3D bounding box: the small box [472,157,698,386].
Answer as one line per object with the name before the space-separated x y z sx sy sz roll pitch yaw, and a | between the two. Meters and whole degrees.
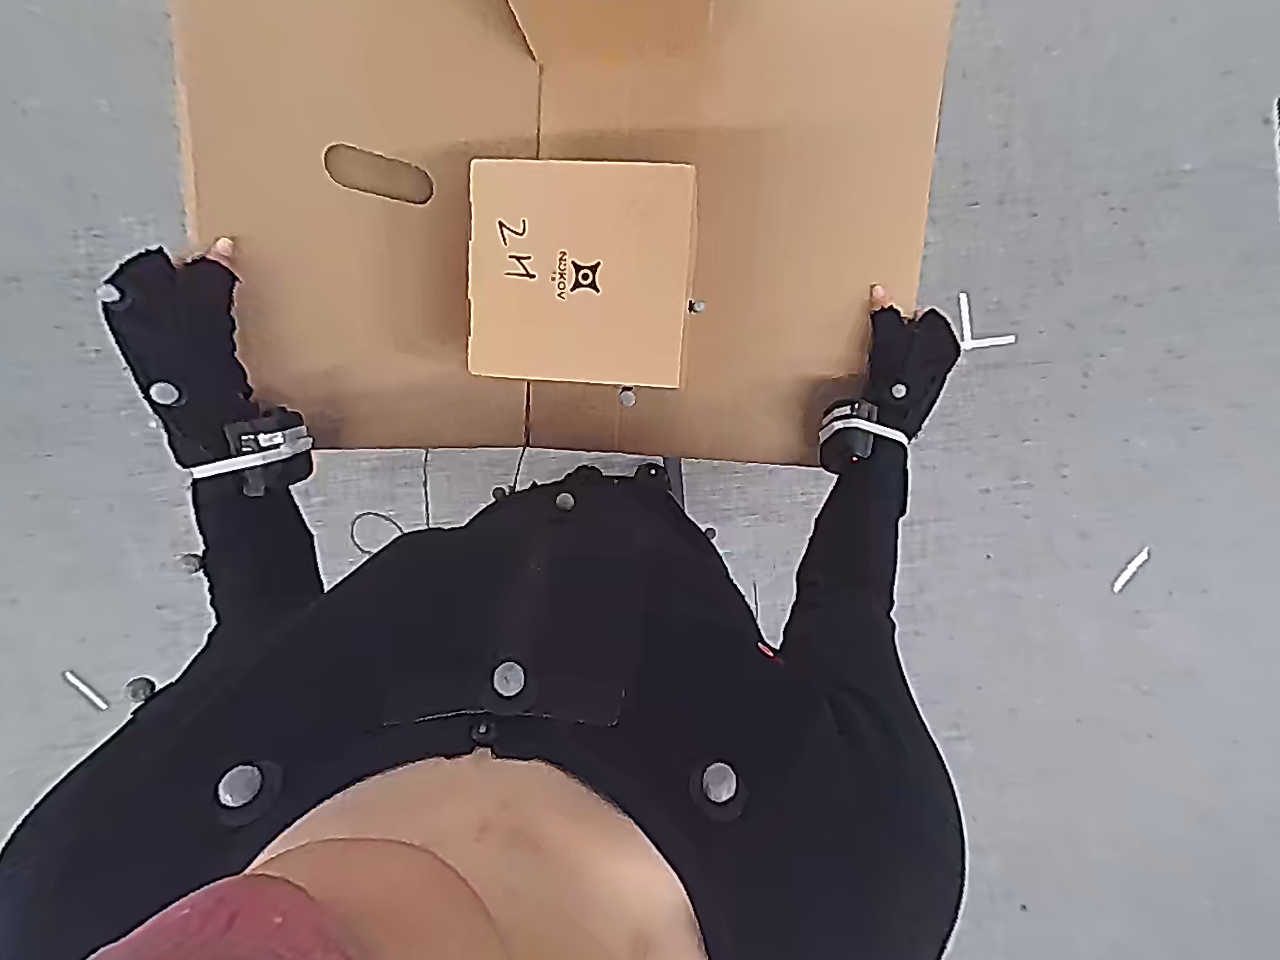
small box | -0.040 -0.178 0.510 0.179 0.176 0.168 5 99 6
